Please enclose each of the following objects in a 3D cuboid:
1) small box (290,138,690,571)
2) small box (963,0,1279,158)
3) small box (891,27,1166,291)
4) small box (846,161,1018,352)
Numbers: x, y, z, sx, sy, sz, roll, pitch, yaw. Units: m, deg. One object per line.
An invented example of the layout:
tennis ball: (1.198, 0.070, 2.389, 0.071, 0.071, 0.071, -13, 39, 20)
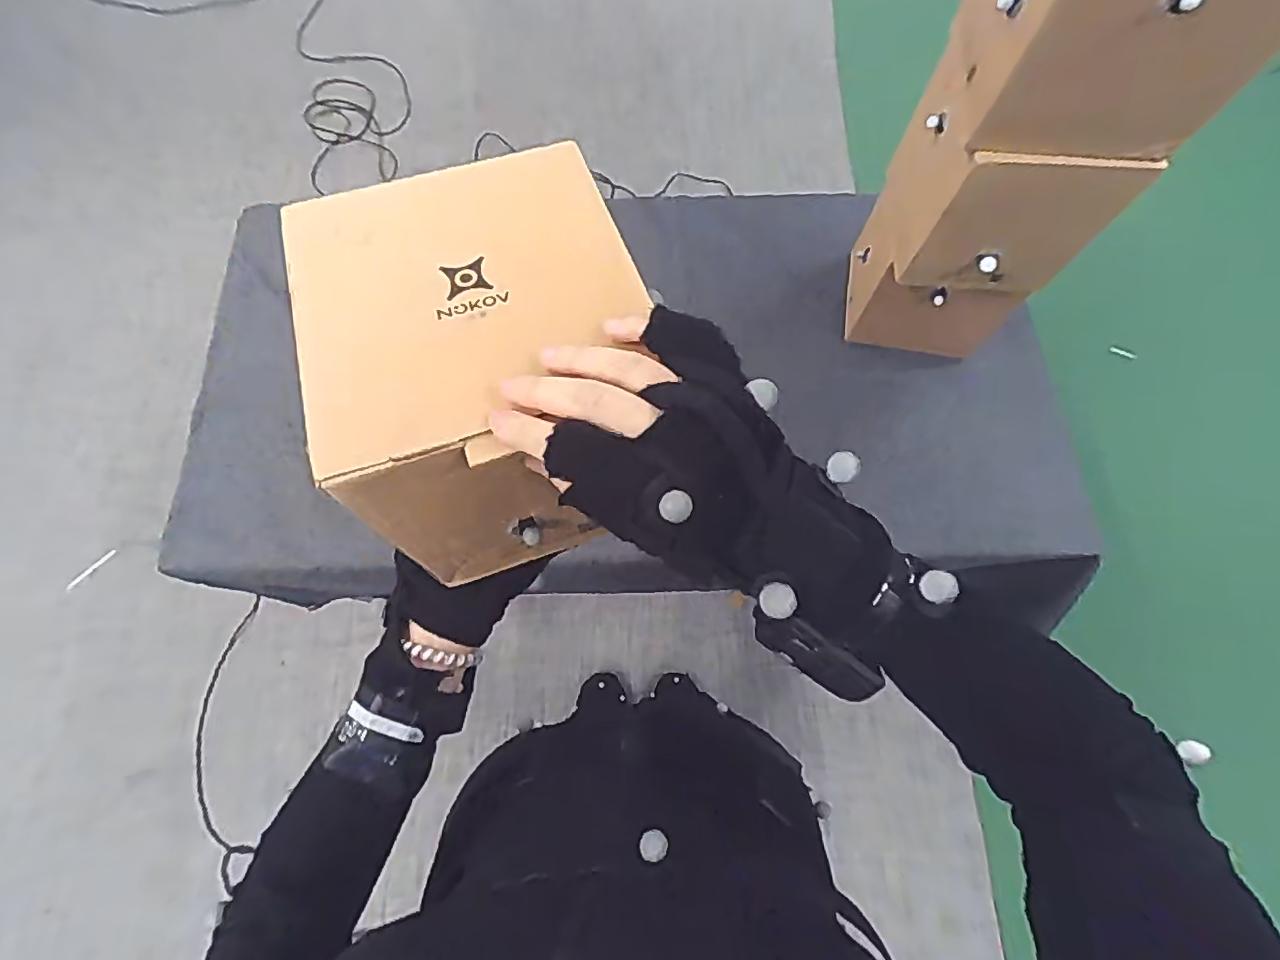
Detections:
small box: (-0.082, -0.065, 0.337, 0.168, 0.176, 0.179, -18, 67, -8)
small box: (0.377, -0.385, 0.421, 0.179, 0.176, 0.168, 7, 72, 4)
small box: (0.384, -0.330, 0.574, 0.168, 0.176, 0.179, 4, 72, 3)
small box: (0.396, -0.294, 0.735, 0.179, 0.176, 0.168, 10, 72, 4)
